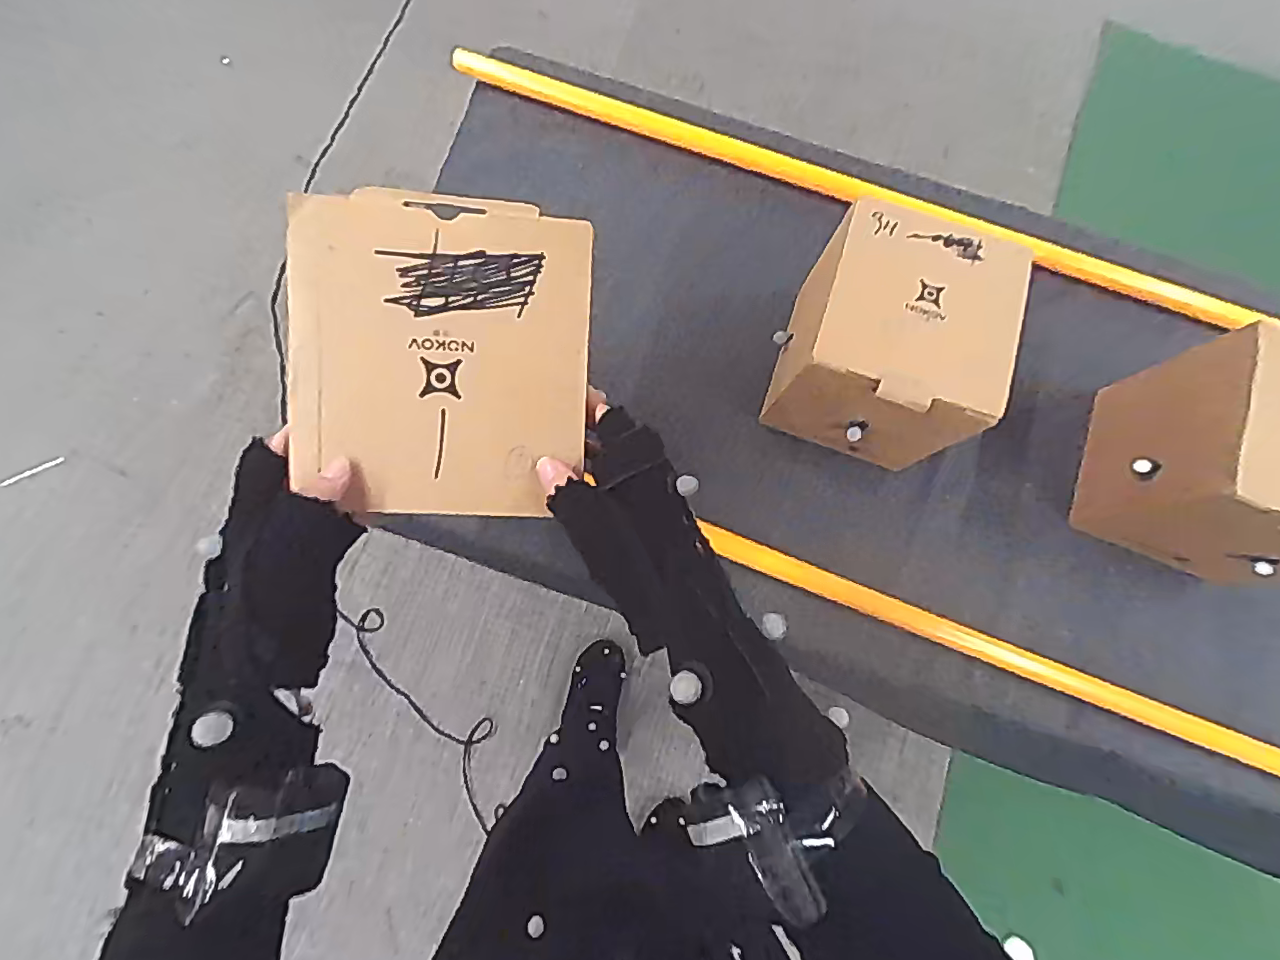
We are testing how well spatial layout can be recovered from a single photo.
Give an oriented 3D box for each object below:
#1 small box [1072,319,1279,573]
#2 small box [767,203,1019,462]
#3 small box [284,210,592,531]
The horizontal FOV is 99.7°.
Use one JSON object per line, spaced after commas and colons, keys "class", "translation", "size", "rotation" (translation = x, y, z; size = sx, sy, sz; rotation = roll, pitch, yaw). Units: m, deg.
{"class": "small box", "translation": [0.578, -0.019, 0.534], "size": [0.168, 0.176, 0.179], "rotation": [22, 75, 2]}
{"class": "small box", "translation": [0.238, -0.134, 0.548], "size": [0.168, 0.176, 0.179], "rotation": [16, 76, 3]}
{"class": "small box", "translation": [-0.123, -0.061, 0.386], "size": [0.168, 0.176, 0.179], "rotation": [1, 93, -7]}
